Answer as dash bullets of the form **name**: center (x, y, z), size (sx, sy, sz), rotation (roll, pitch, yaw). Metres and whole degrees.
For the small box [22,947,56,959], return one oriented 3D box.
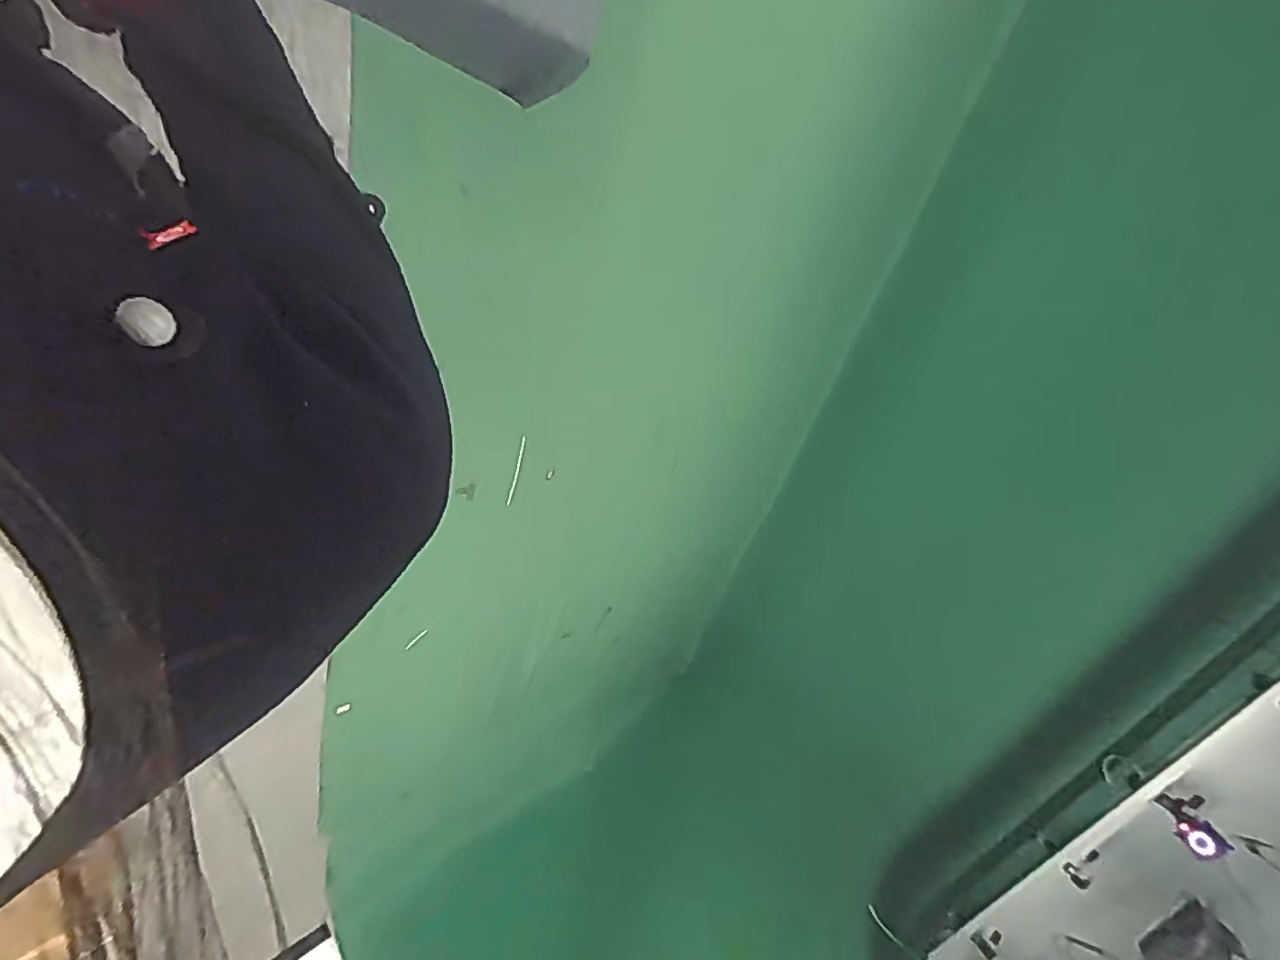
- **small box**: center (-1.579, 1.342, 1.350), size (0.179, 0.176, 0.168), rotation (-15, 133, -45)
